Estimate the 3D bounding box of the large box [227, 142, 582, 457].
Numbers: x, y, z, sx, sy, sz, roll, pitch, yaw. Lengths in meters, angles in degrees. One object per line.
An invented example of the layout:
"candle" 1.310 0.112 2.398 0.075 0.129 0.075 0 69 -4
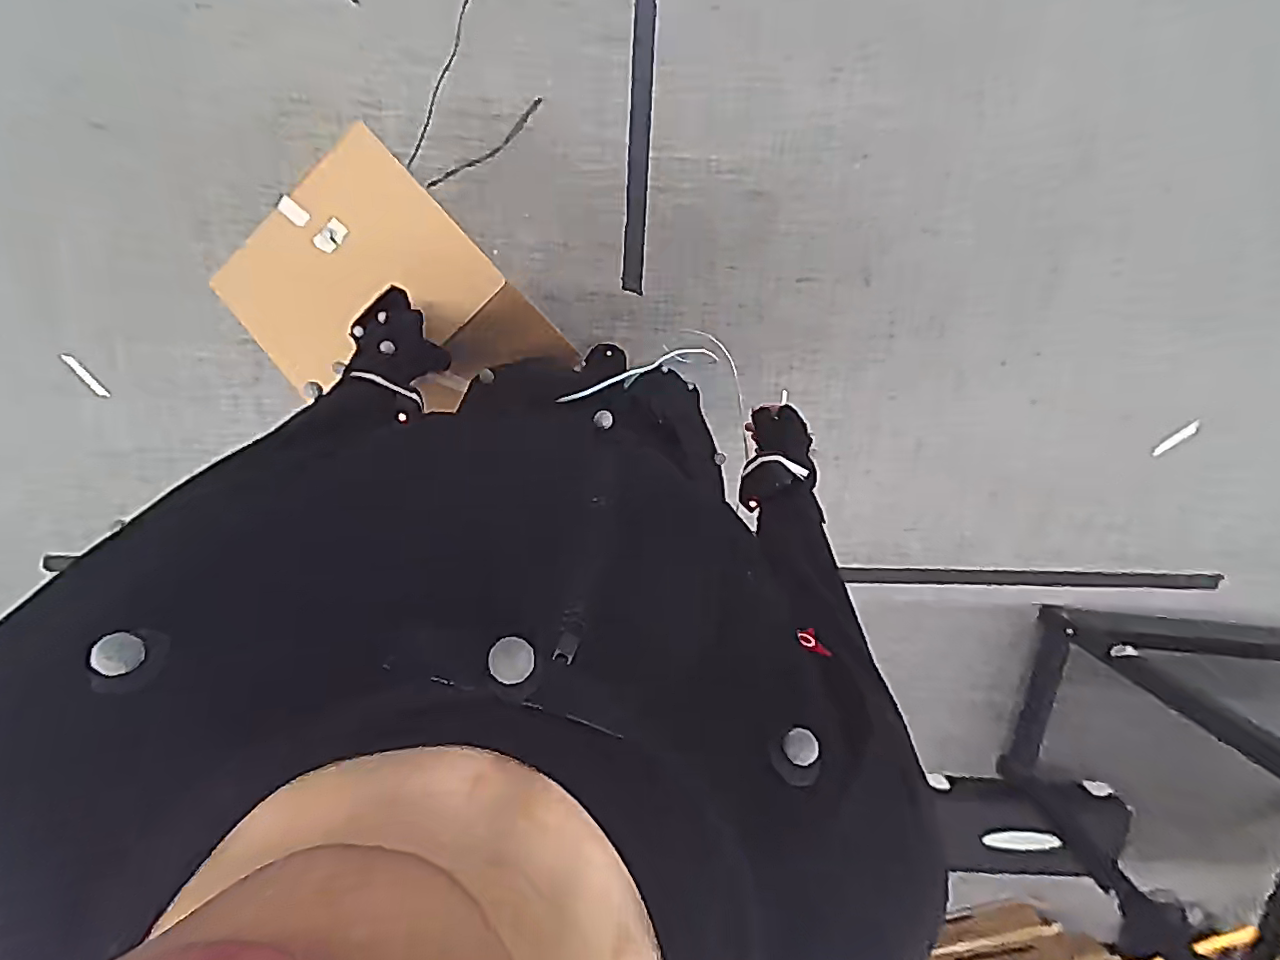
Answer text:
"large box" -0.358 -0.259 0.929 0.320 0.408 0.320 -42 84 6
